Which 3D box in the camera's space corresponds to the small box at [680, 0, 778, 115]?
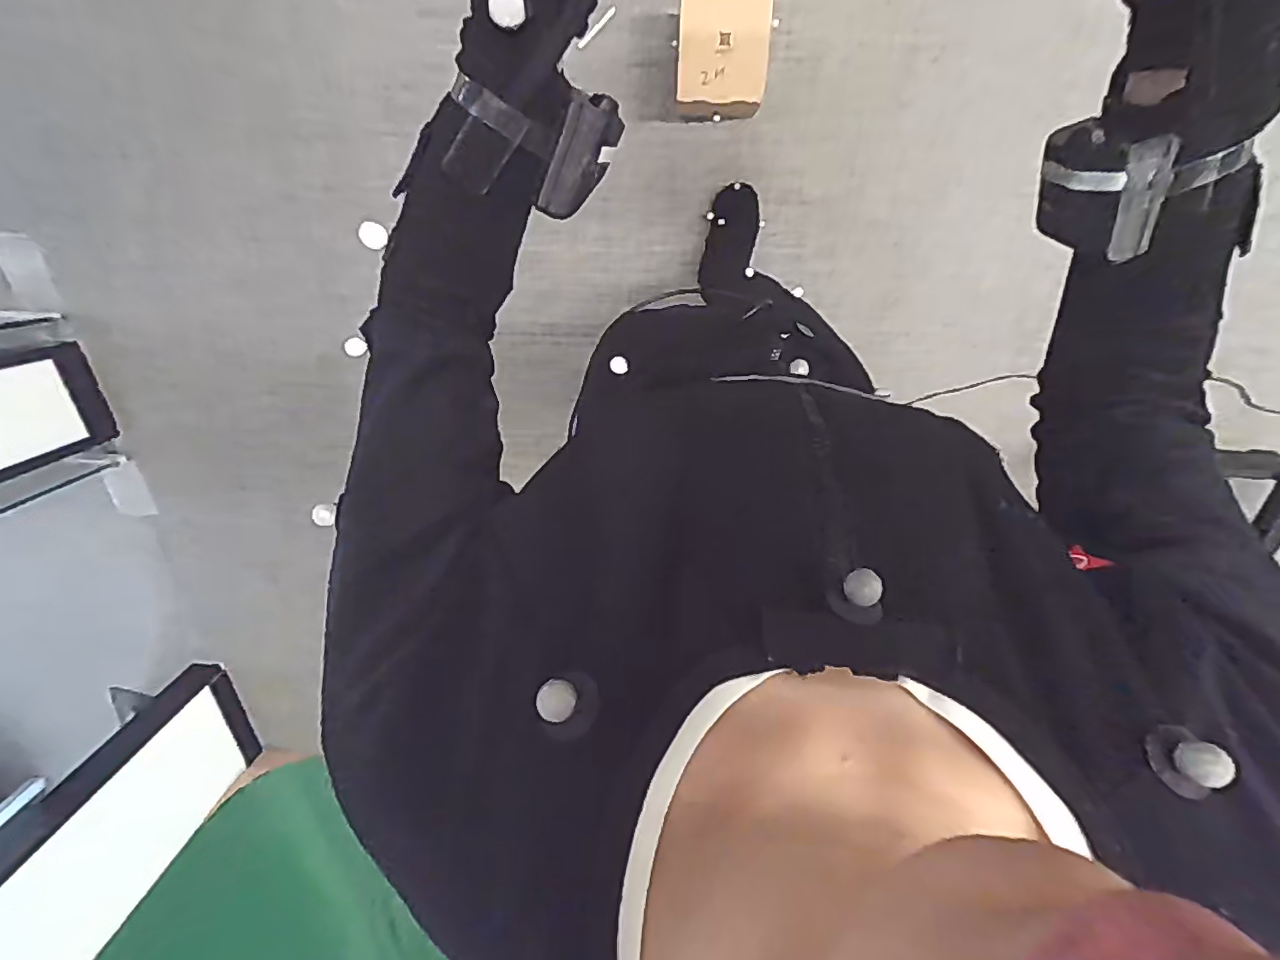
[{"bbox_3d":[0.164,-0.827,1.047,0.168,0.176,0.179,3,117,4],"label":"small box"}]
